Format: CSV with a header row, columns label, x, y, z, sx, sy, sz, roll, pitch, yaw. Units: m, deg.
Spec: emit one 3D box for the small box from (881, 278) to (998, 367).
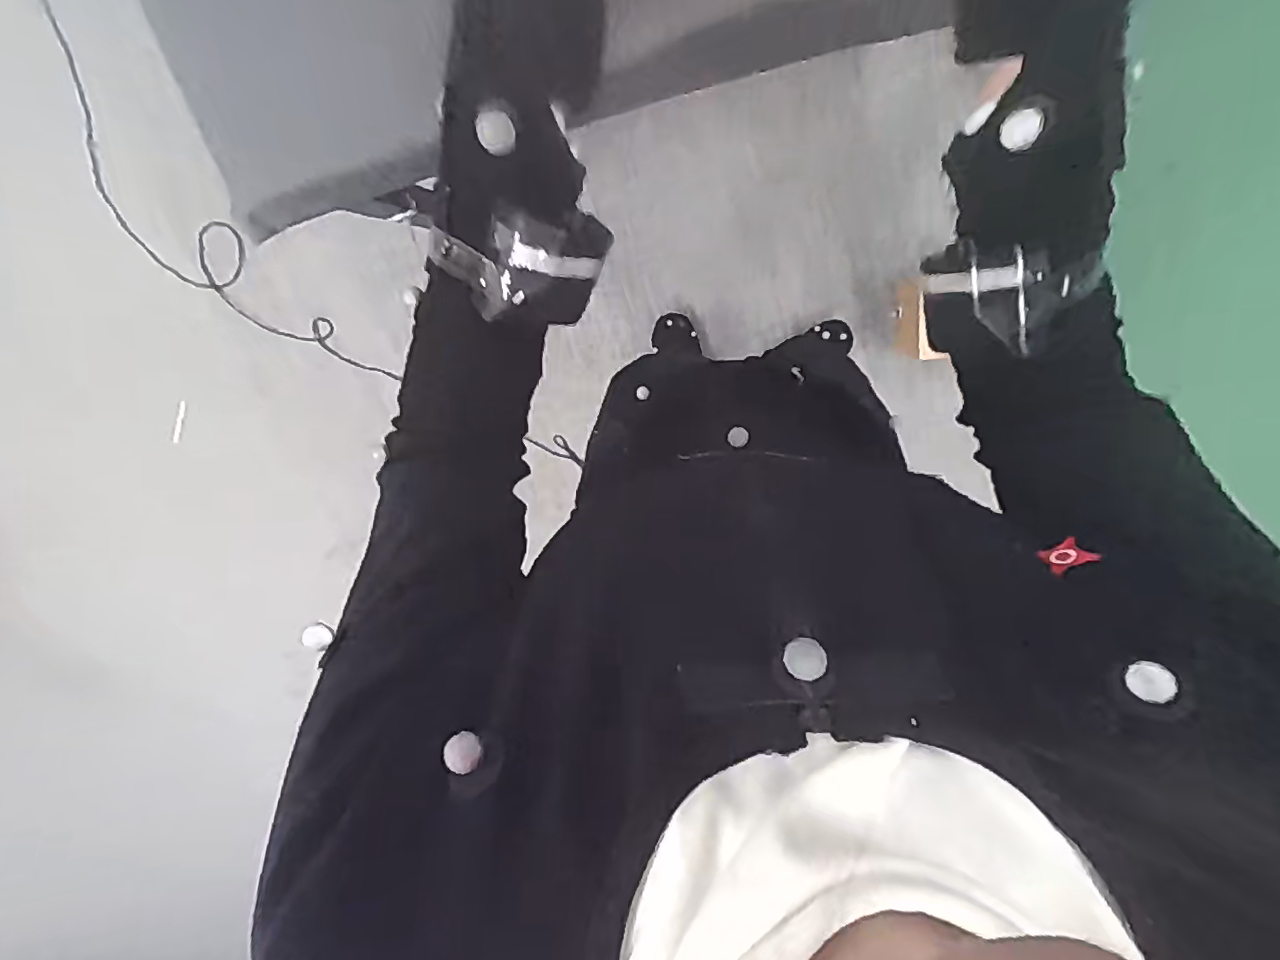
label,x,y,z,sx,sy,sz,roll,pitch,yaw
small box,0.652,-0.350,1.196,0.179,0.176,0.168,-5,107,9
